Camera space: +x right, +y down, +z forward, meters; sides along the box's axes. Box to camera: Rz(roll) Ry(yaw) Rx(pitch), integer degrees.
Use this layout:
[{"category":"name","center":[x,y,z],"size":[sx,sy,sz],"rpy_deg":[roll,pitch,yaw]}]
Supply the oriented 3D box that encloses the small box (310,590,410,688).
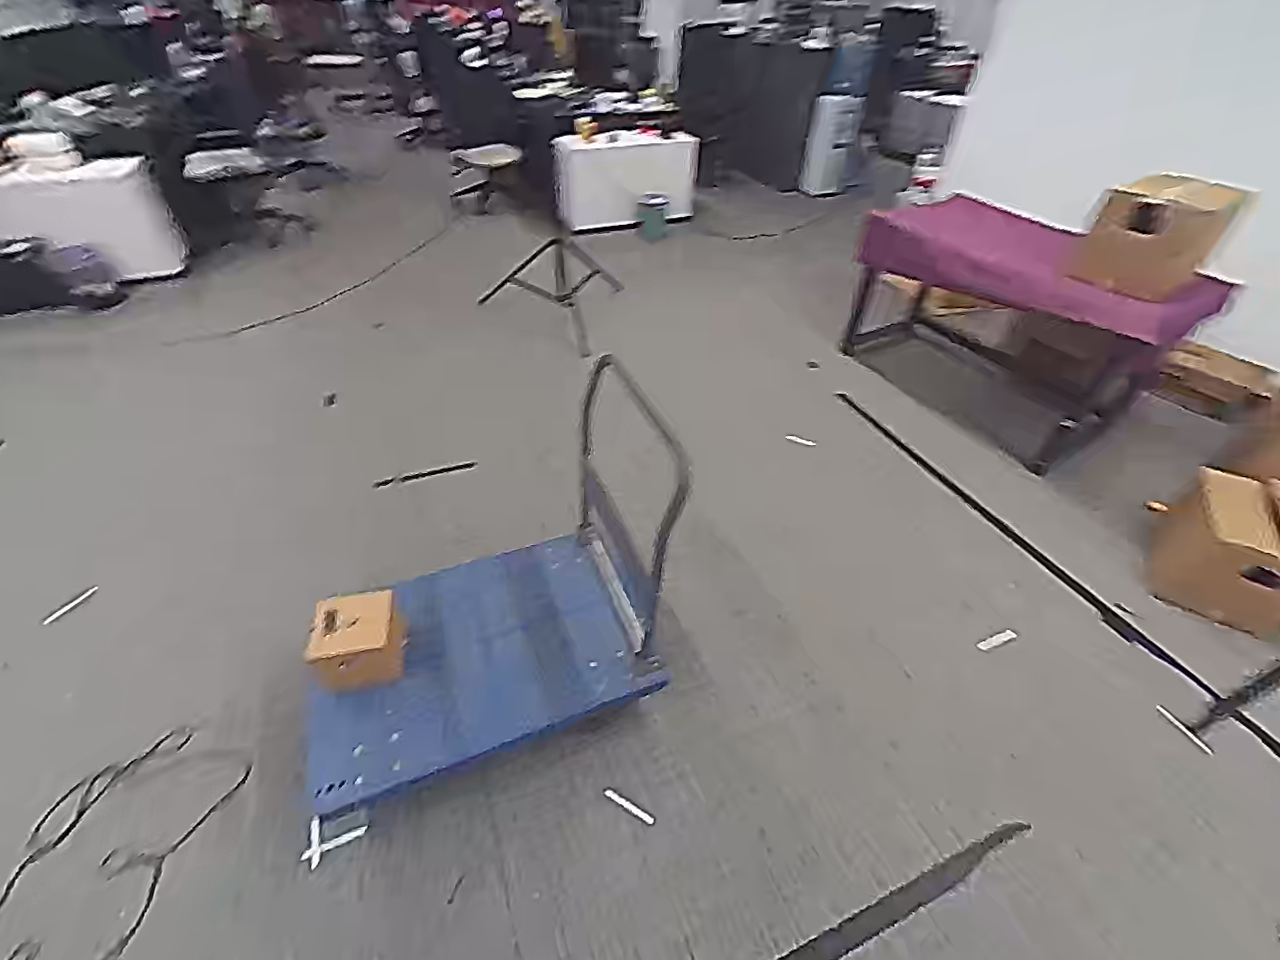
[{"category":"small box","center":[-0.703,0.407,1.377],"size":[0.179,0.176,0.168],"rpy_deg":[-6,44,-12]}]
